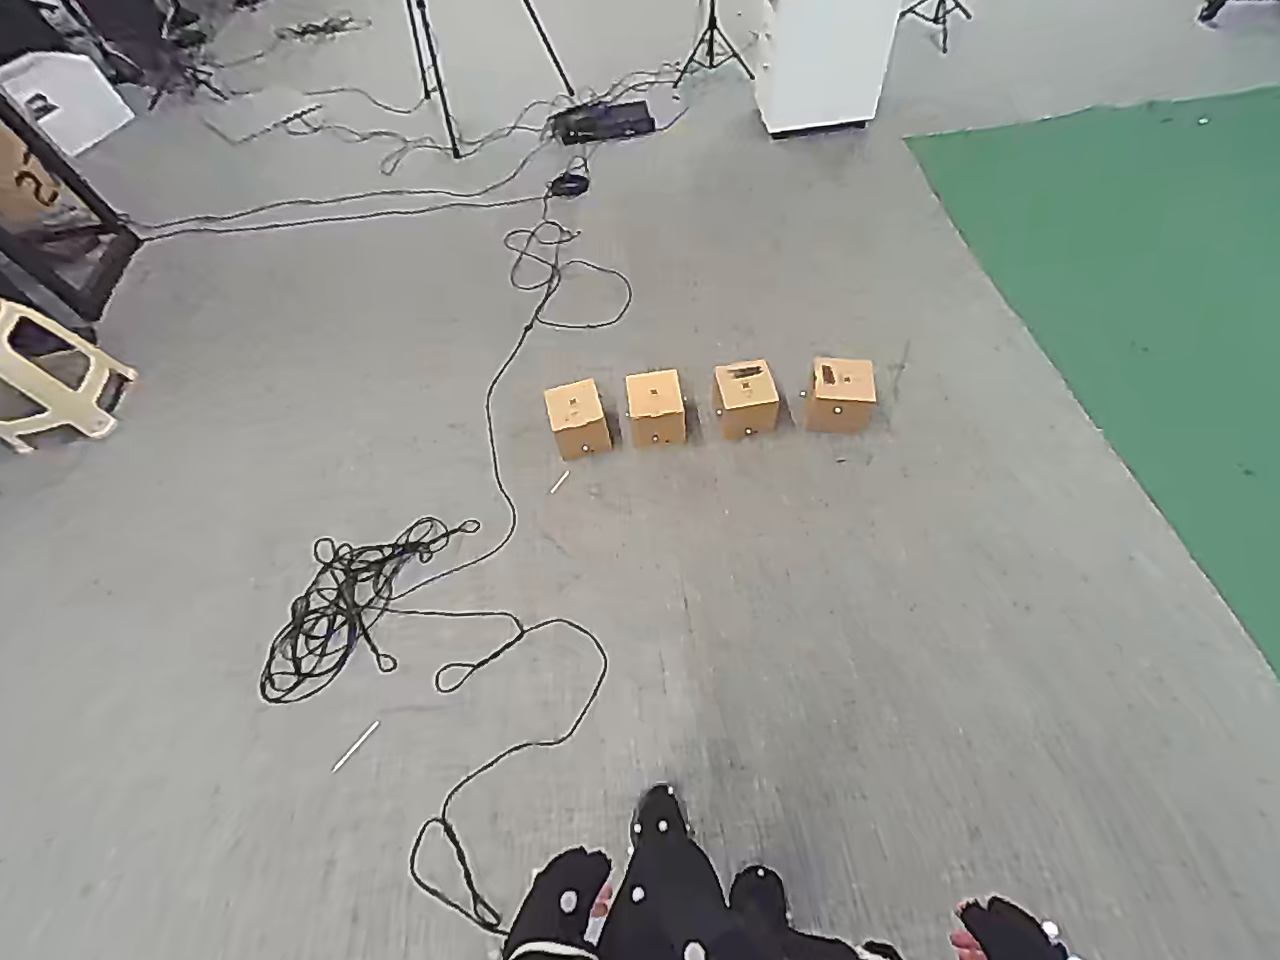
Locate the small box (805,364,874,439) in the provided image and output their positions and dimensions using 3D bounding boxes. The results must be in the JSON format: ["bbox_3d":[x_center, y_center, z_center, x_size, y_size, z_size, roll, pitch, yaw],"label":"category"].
[{"bbox_3d":[0.622,-0.246,1.711,0.179,0.176,0.168,5,59,8],"label":"small box"}]

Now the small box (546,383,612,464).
[{"bbox_3d":[-0.197,-0.180,1.754,0.168,0.176,0.179,-15,58,-2],"label":"small box"}]

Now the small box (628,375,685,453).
[{"bbox_3d":[0.053,-0.211,1.751,0.168,0.176,0.179,-8,58,1],"label":"small box"}]
